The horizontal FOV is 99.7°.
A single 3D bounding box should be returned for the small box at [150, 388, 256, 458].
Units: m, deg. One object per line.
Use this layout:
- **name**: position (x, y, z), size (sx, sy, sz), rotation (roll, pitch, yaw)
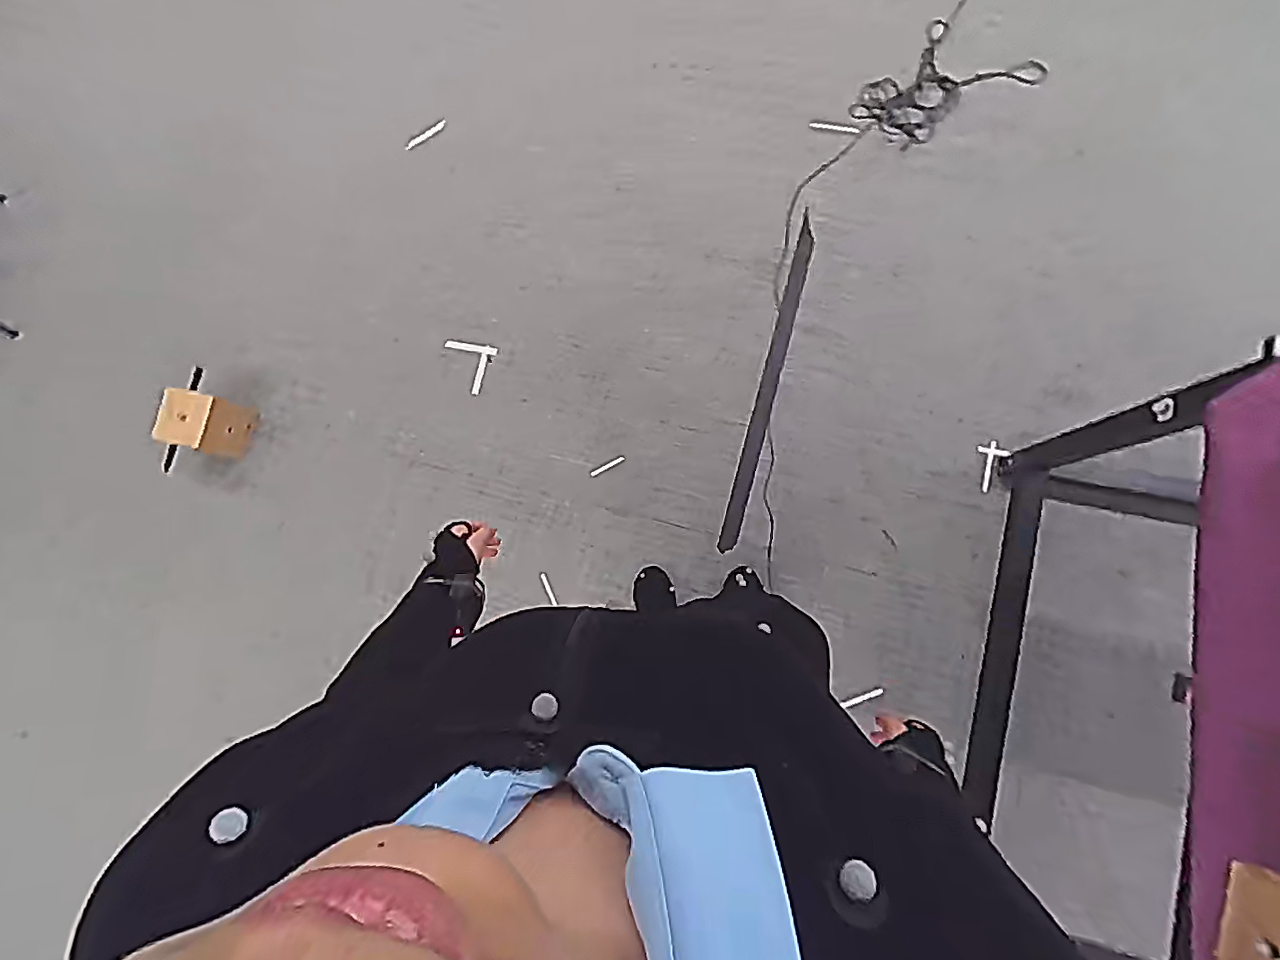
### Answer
- **small box**: position (-1.353, -0.172, 1.687), size (0.179, 0.176, 0.168), rotation (11, 83, 10)
